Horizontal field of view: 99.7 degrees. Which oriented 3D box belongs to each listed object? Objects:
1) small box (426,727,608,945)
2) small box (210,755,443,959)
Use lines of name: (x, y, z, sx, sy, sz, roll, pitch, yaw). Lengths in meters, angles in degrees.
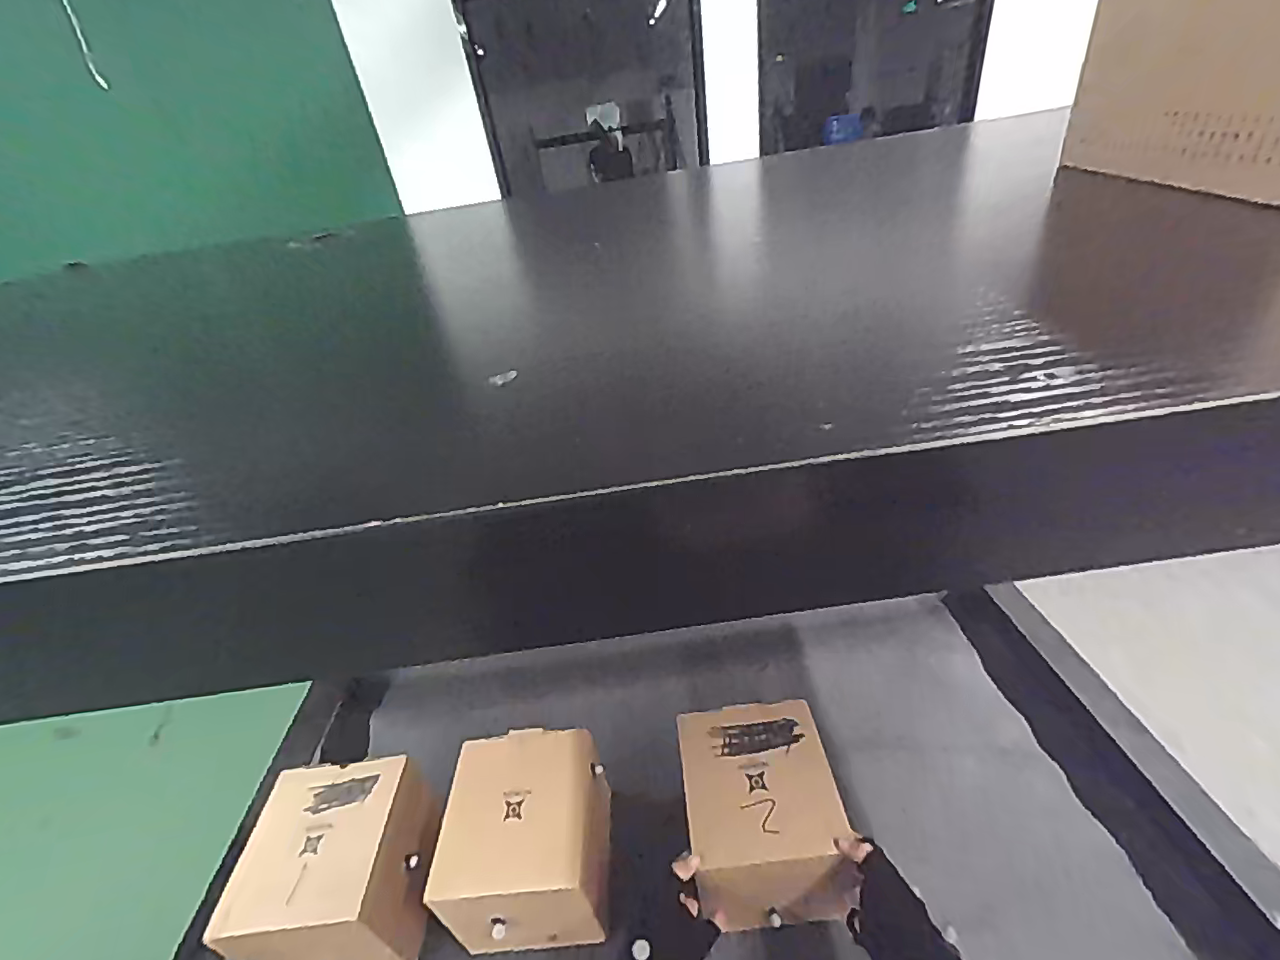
small box: (-0.134, 0.441, 0.669, 0.168, 0.176, 0.179, -7, 32, 2)
small box: (-0.358, 0.476, 0.667, 0.168, 0.176, 0.179, -8, 33, 1)
